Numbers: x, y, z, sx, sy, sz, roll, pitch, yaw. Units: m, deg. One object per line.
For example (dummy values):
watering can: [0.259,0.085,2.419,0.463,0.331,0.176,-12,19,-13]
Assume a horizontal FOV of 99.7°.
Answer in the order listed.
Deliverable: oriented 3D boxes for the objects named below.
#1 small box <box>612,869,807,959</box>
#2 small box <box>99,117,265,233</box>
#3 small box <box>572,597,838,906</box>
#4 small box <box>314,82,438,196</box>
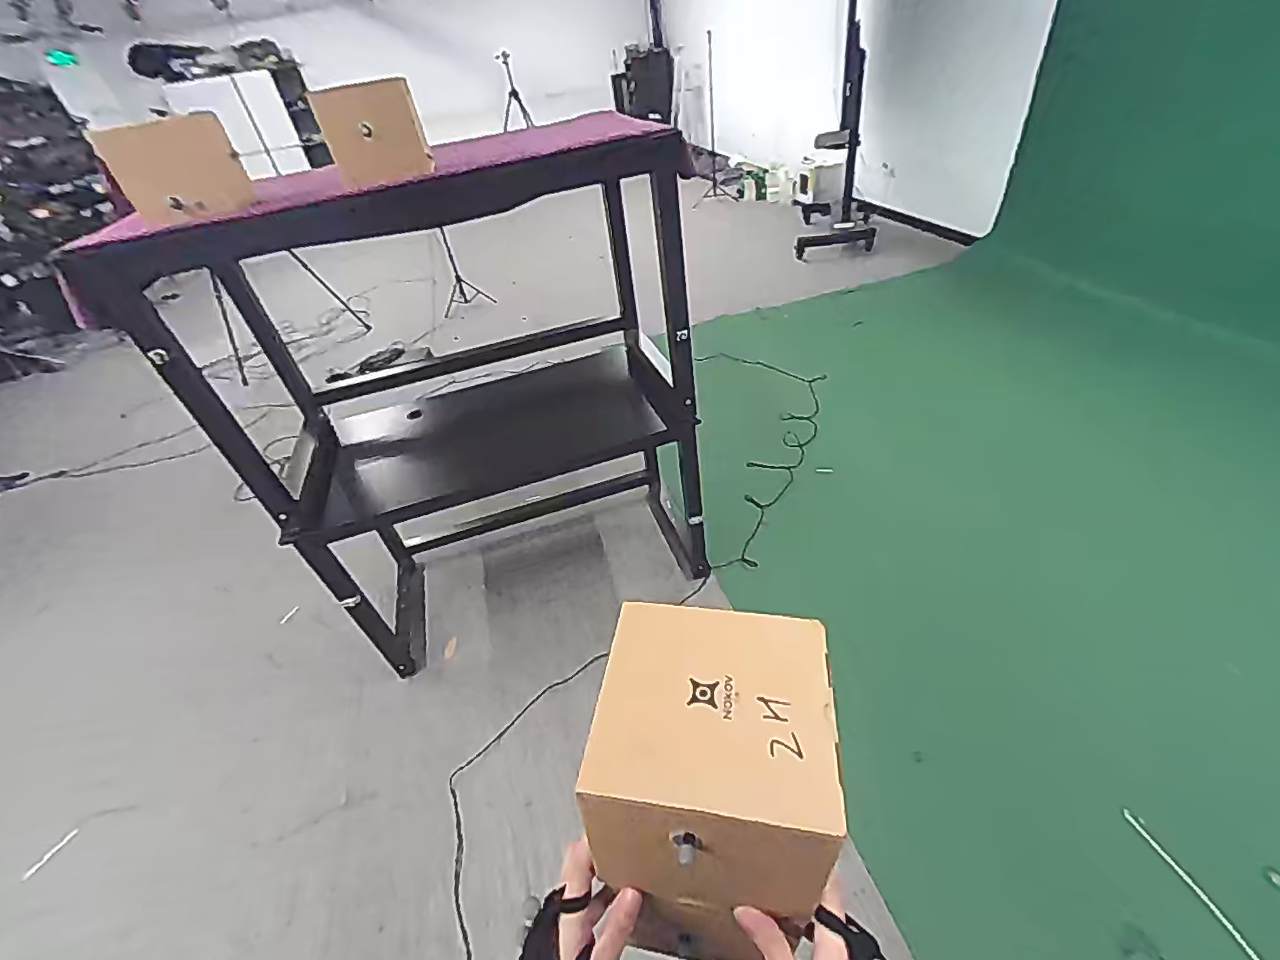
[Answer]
small box: [0.073,0.354,0.555,0.168,0.176,0.179,4,37,11]
small box: [-0.883,-0.603,1.069,0.168,0.176,0.179,-18,39,-9]
small box: [0.058,0.223,0.455,0.179,0.176,0.168,4,37,10]
small box: [-0.537,-0.715,1.132,0.179,0.176,0.168,-16,38,-6]
